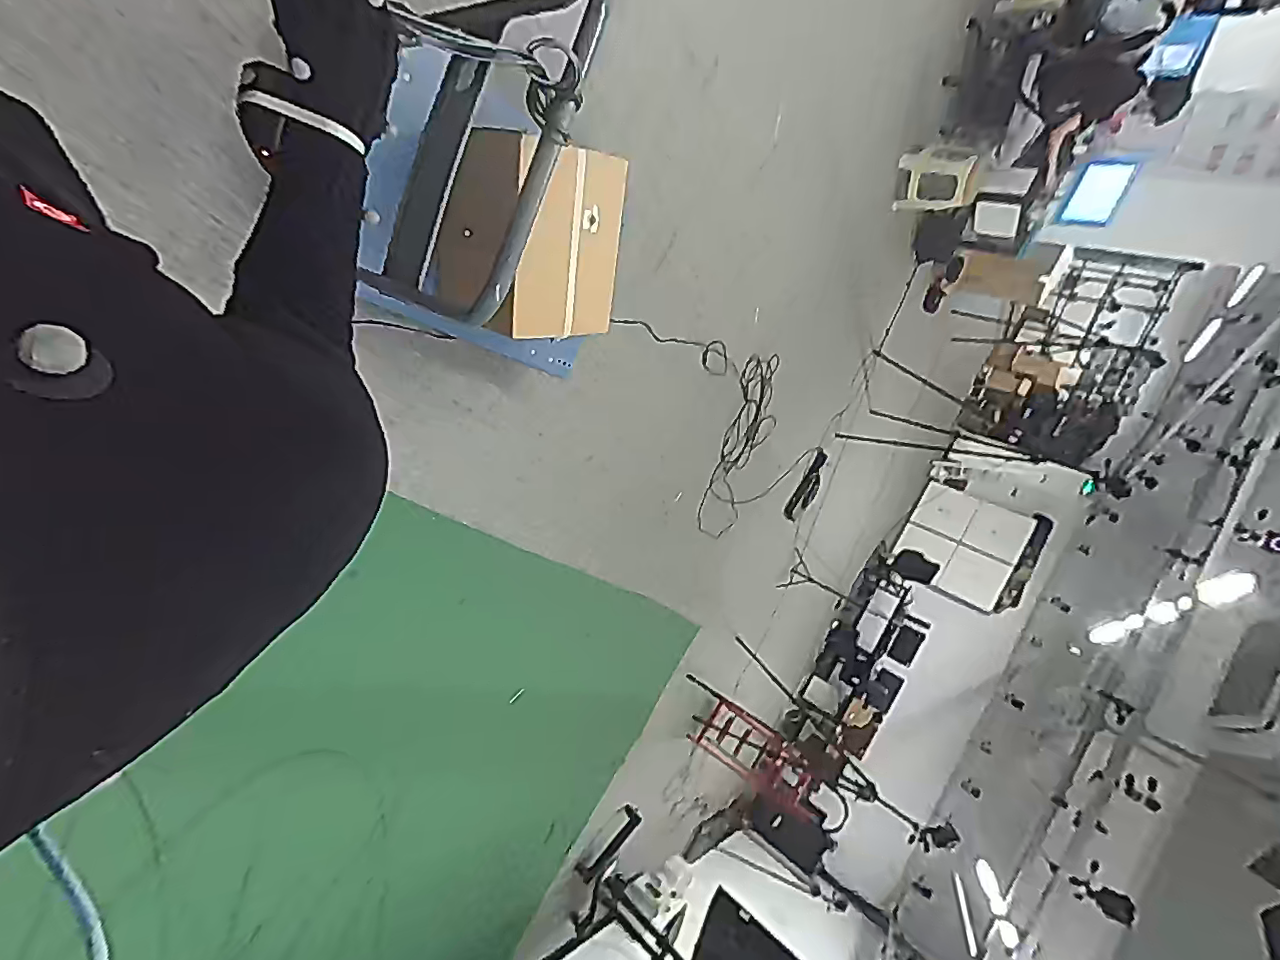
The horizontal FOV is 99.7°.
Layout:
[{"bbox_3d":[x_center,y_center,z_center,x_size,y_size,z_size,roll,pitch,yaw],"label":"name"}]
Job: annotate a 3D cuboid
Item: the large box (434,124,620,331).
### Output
[{"bbox_3d":[-0.283,-0.606,1.327,0.320,0.320,0.408,-21,128,-47],"label":"large box"}]
